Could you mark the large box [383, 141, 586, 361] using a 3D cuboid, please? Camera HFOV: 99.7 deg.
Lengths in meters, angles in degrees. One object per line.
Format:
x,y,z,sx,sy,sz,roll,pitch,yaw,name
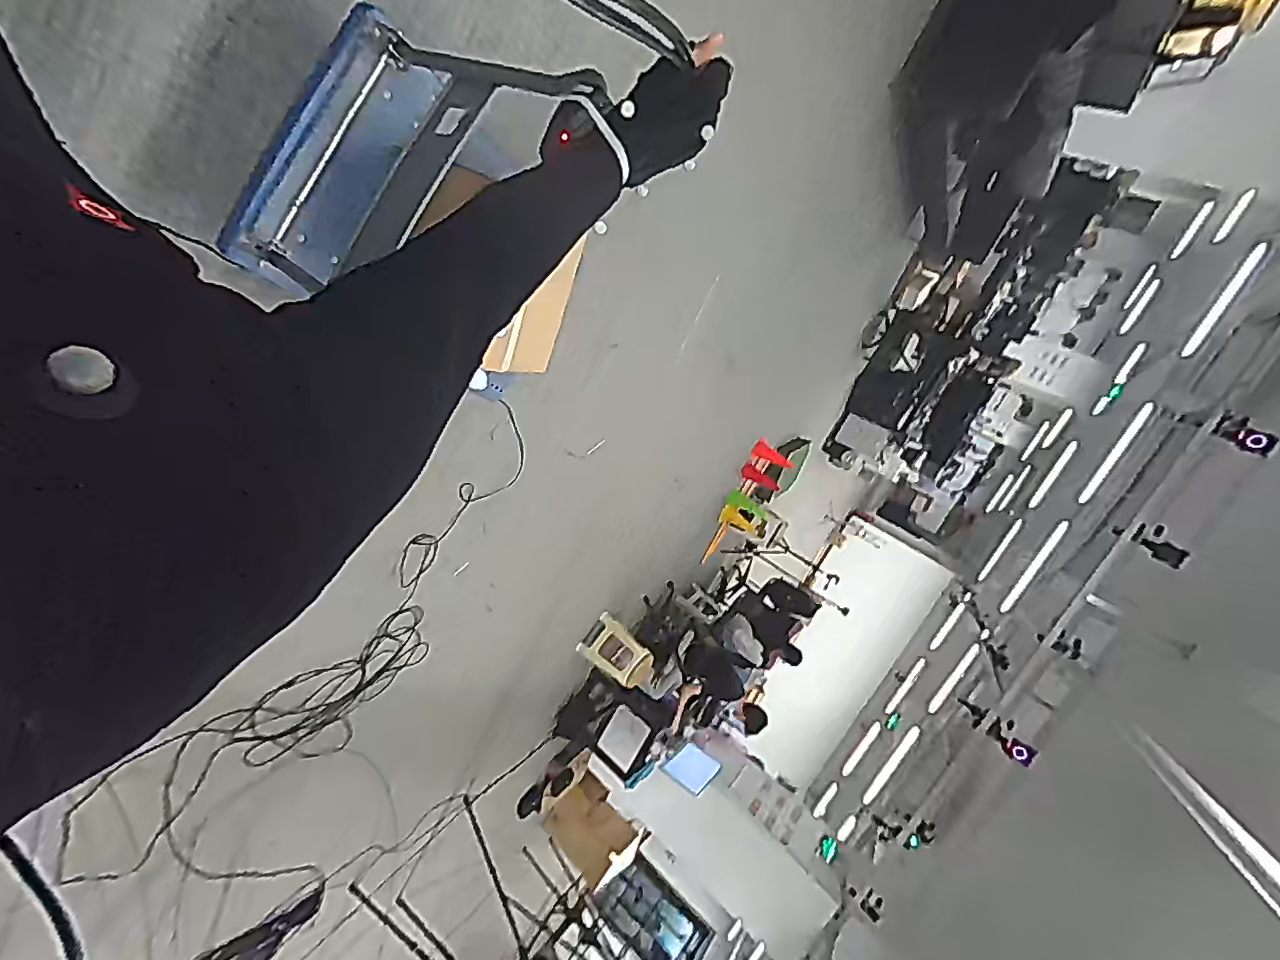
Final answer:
-0.396,-0.548,1.353,0.320,0.320,0.408,-13,130,-55,large box
